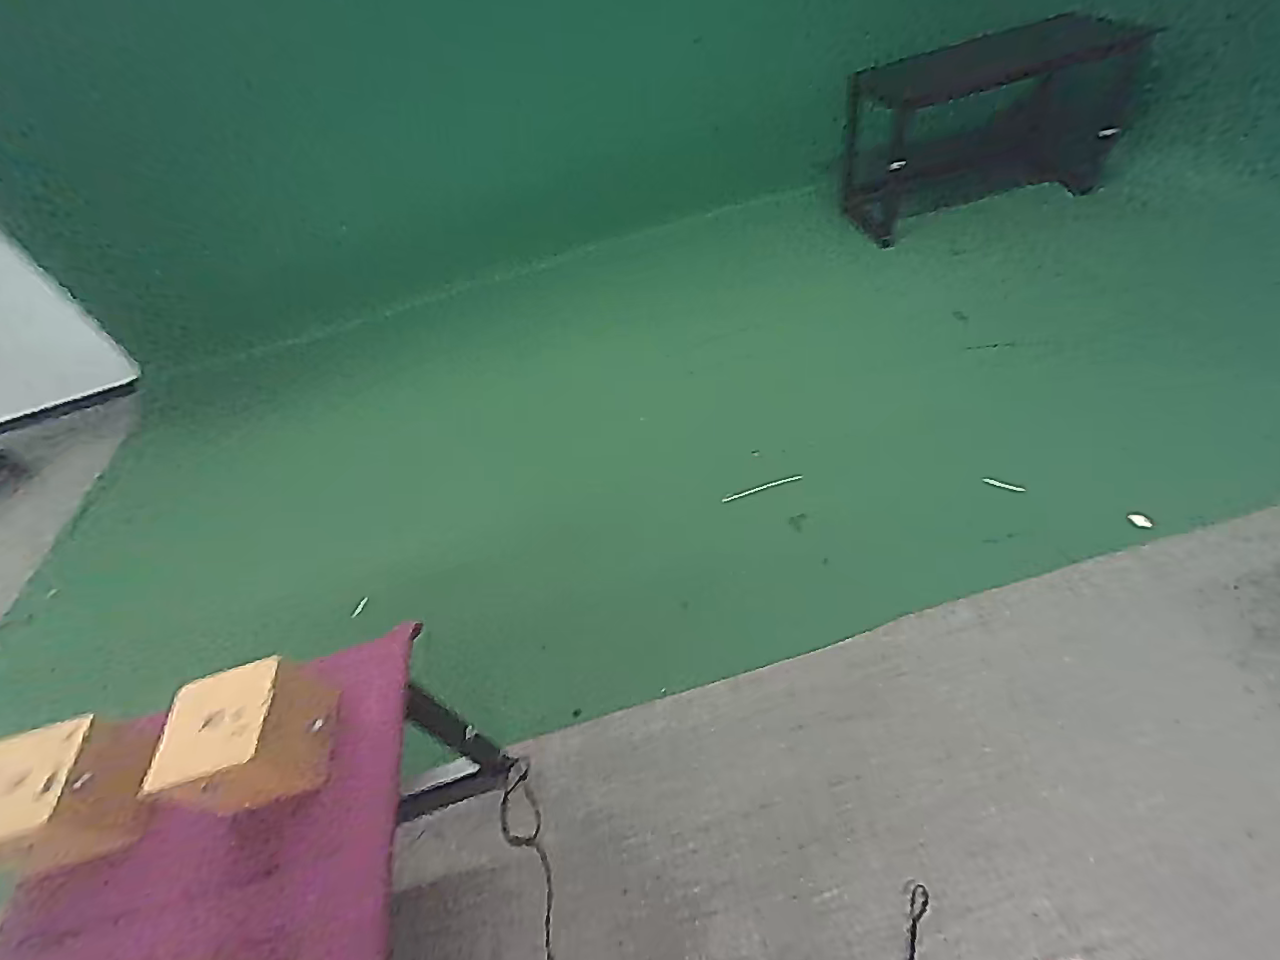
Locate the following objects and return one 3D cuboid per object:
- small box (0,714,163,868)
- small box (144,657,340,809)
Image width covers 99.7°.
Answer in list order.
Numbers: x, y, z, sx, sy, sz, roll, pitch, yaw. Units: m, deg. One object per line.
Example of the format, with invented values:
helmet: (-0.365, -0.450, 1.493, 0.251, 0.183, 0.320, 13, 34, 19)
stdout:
small box: (-0.953, 0.520, 0.898, 0.179, 0.176, 0.168, -16, 49, -2)
small box: (-0.645, 0.427, 0.904, 0.179, 0.176, 0.168, -17, 48, 1)
